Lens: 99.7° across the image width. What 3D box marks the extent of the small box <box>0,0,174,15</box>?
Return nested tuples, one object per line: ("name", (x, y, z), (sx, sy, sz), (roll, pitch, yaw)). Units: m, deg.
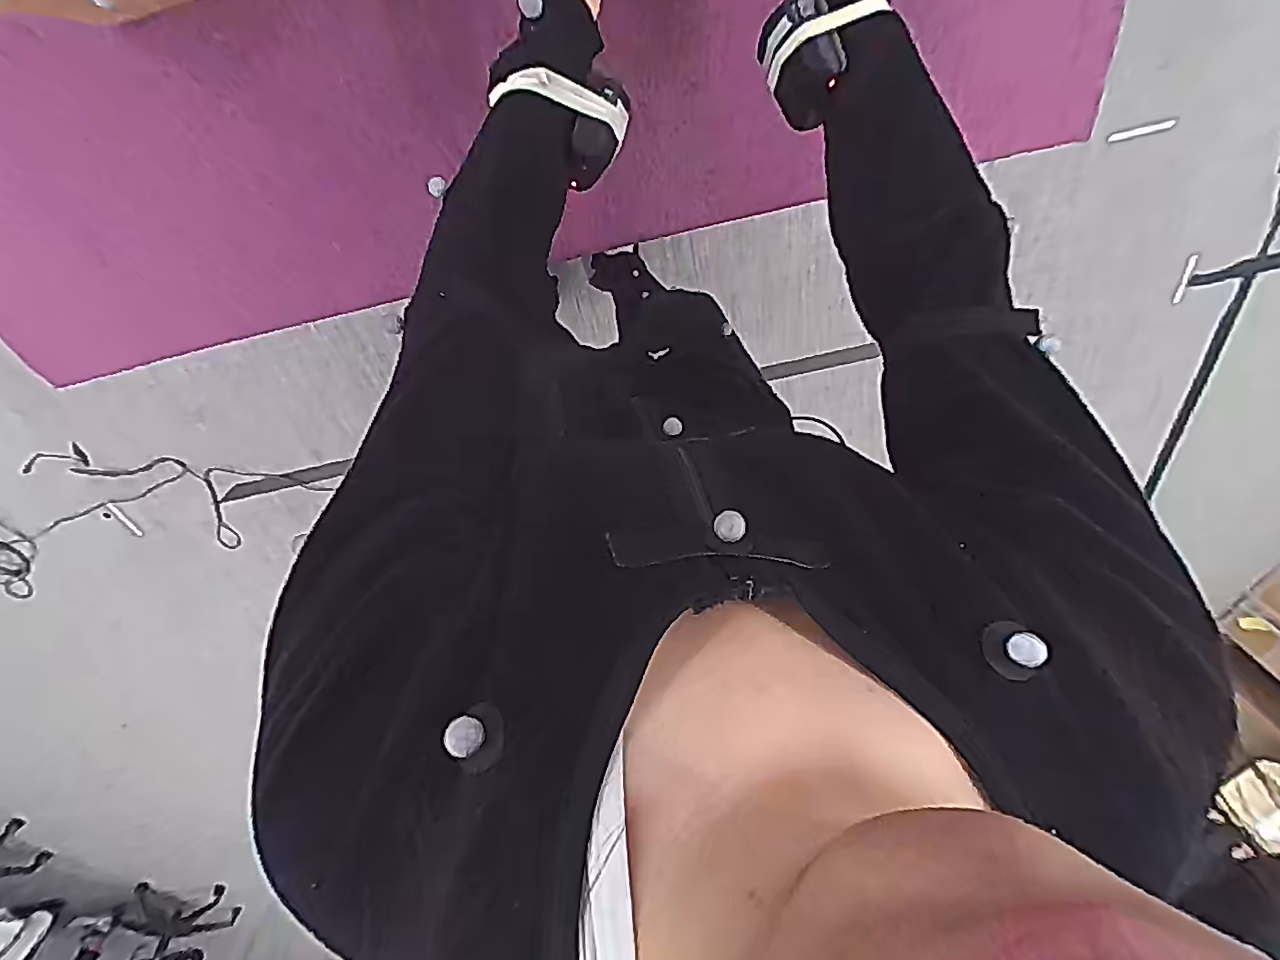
("small box", (-0.378, -0.423, 0.341), (0.179, 0.176, 0.168), (-14, 128, 3))
